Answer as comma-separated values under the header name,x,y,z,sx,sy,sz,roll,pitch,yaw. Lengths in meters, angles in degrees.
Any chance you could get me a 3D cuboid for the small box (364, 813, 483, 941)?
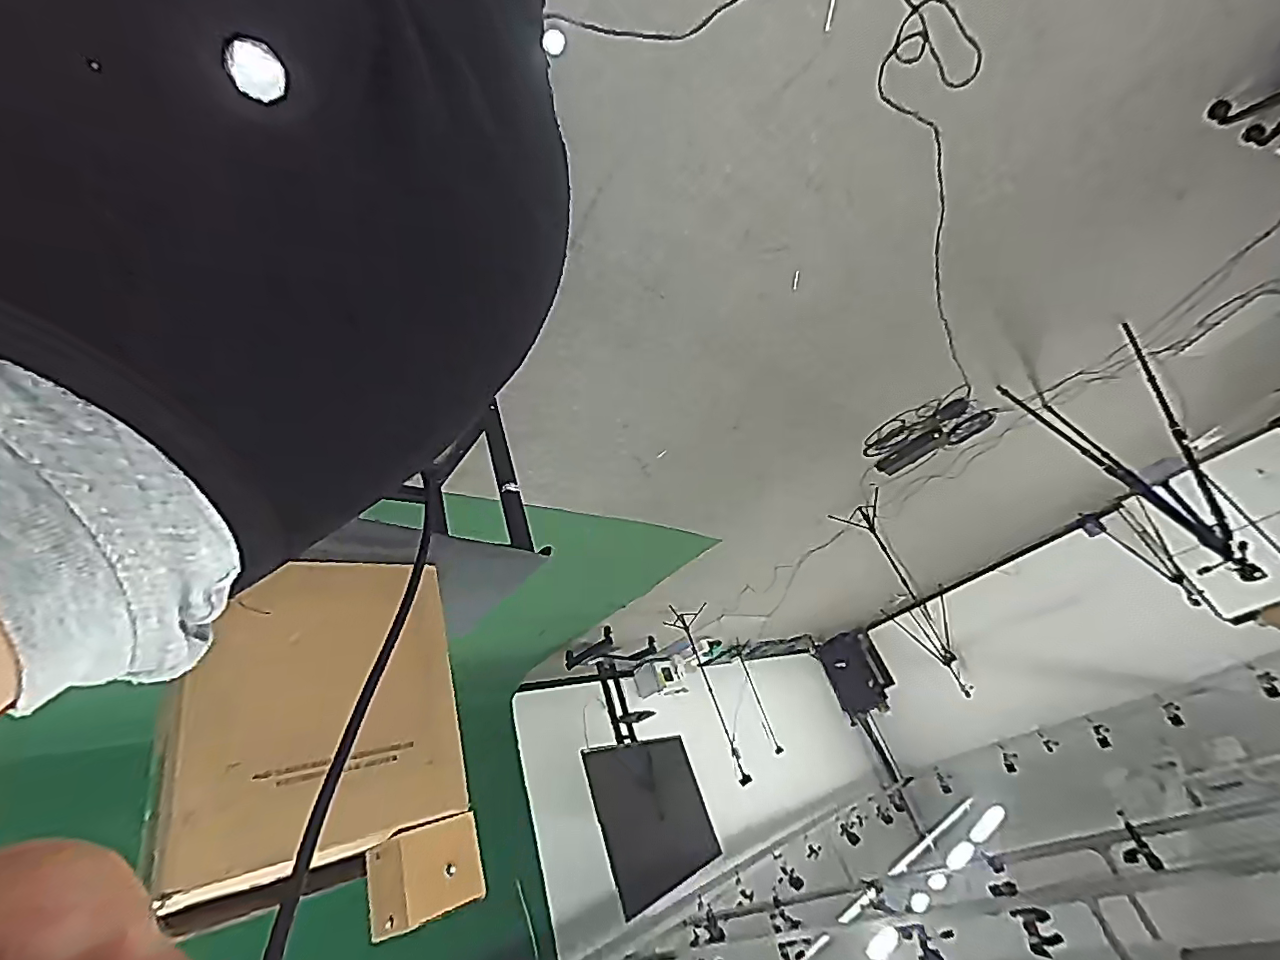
name,x,y,z,sx,sy,sz,roll,pitch,yaw
small box,-0.478,0.861,1.187,0.168,0.176,0.179,-41,148,28
